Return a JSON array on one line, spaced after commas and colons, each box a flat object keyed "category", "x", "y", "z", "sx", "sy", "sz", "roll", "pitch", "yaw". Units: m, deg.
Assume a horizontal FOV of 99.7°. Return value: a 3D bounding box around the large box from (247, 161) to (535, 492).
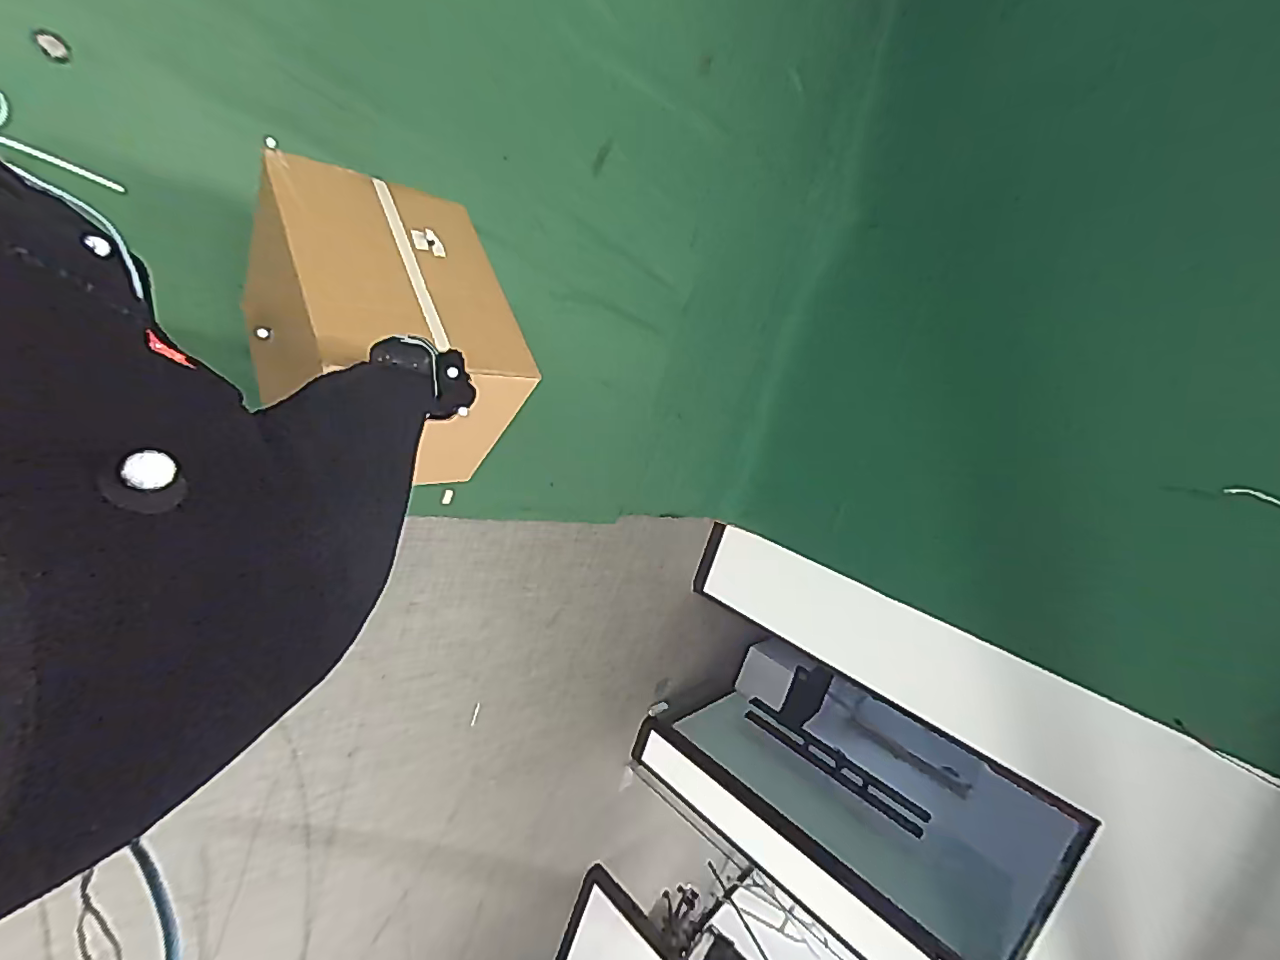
[{"category": "large box", "x": -0.442, "y": -0.236, "z": 0.926, "sx": 0.320, "sy": 0.408, "sz": 0.320, "roll": -6, "pitch": 152, "yaw": -45}]
